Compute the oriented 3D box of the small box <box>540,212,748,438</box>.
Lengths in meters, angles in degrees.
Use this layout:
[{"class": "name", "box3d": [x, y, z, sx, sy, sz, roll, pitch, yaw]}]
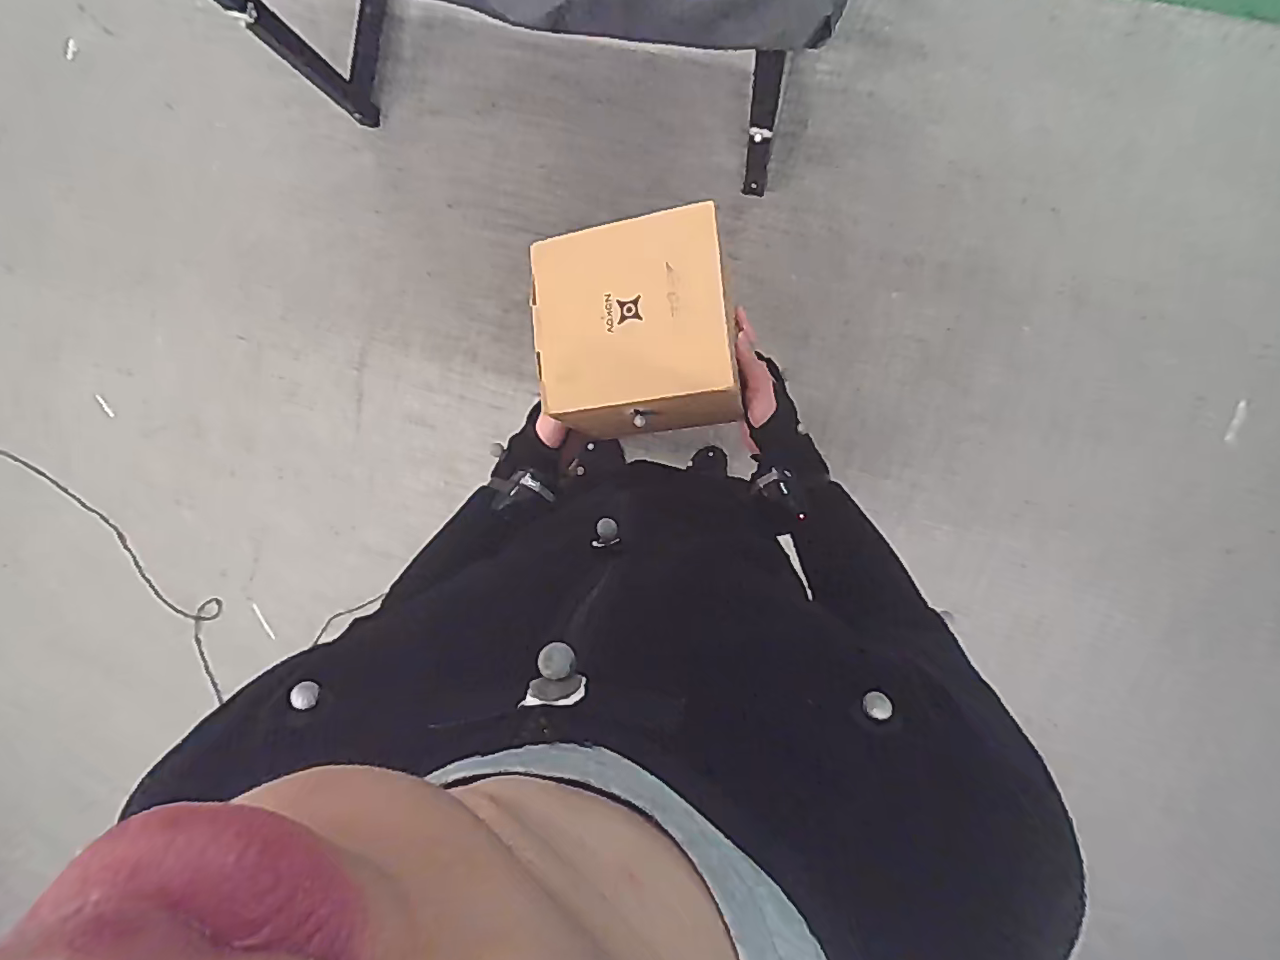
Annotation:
[{"class": "small box", "box3d": [0.014, -0.142, 0.567, 0.179, 0.176, 0.168, -7, 86, 13]}]
